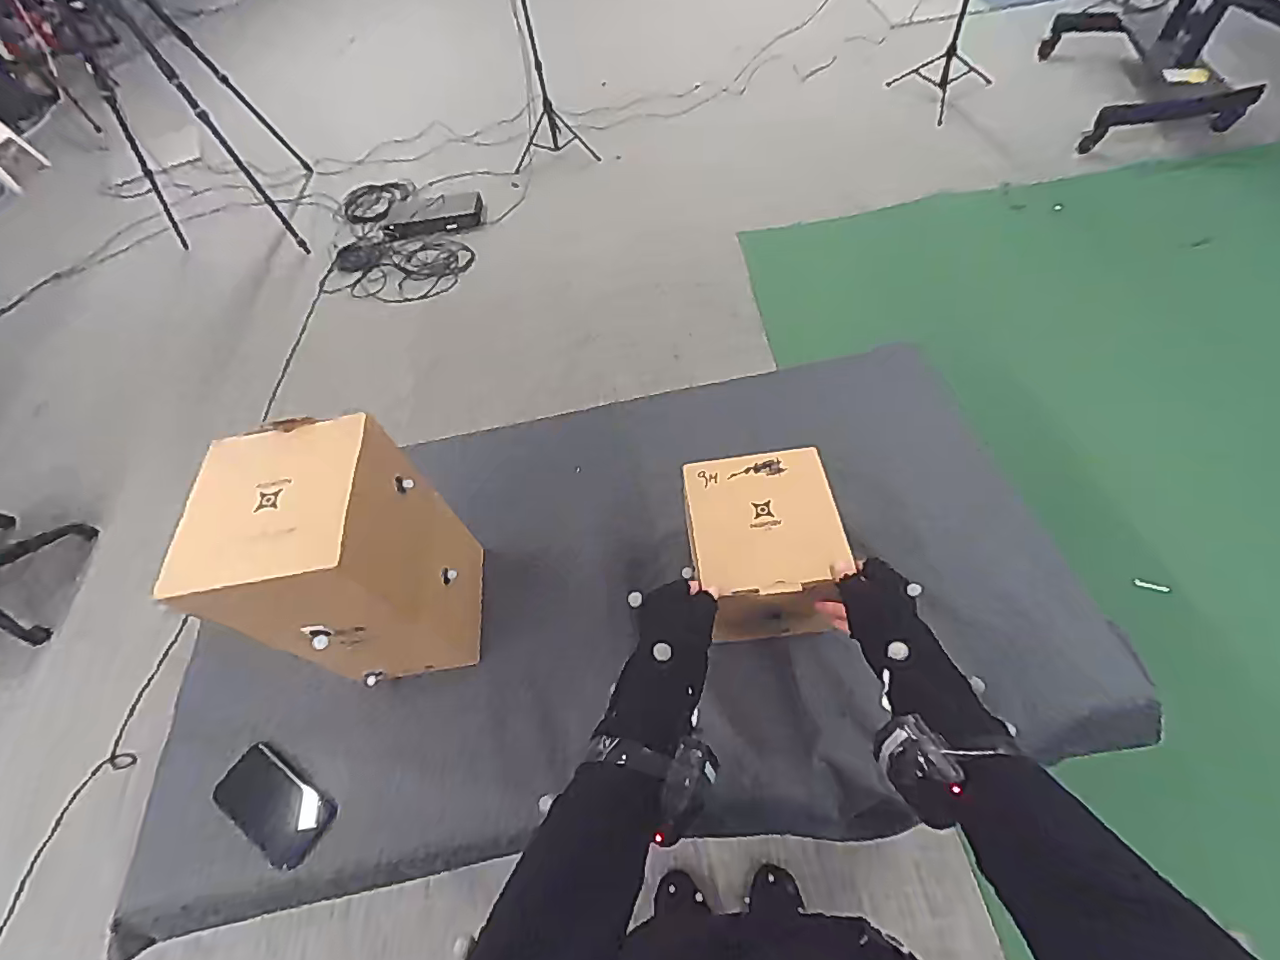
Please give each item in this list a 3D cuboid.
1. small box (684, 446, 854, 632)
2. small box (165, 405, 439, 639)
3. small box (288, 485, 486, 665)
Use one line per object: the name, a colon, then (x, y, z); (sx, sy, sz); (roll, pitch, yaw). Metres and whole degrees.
small box: (0.150, 0.084, 0.681); (0.168, 0.176, 0.179); (-7, 57, 4)
small box: (-0.329, 0.050, 0.573); (0.168, 0.176, 0.179); (-10, 57, 2)
small box: (-0.312, 0.134, 0.711); (0.168, 0.176, 0.179); (-9, 56, 2)
